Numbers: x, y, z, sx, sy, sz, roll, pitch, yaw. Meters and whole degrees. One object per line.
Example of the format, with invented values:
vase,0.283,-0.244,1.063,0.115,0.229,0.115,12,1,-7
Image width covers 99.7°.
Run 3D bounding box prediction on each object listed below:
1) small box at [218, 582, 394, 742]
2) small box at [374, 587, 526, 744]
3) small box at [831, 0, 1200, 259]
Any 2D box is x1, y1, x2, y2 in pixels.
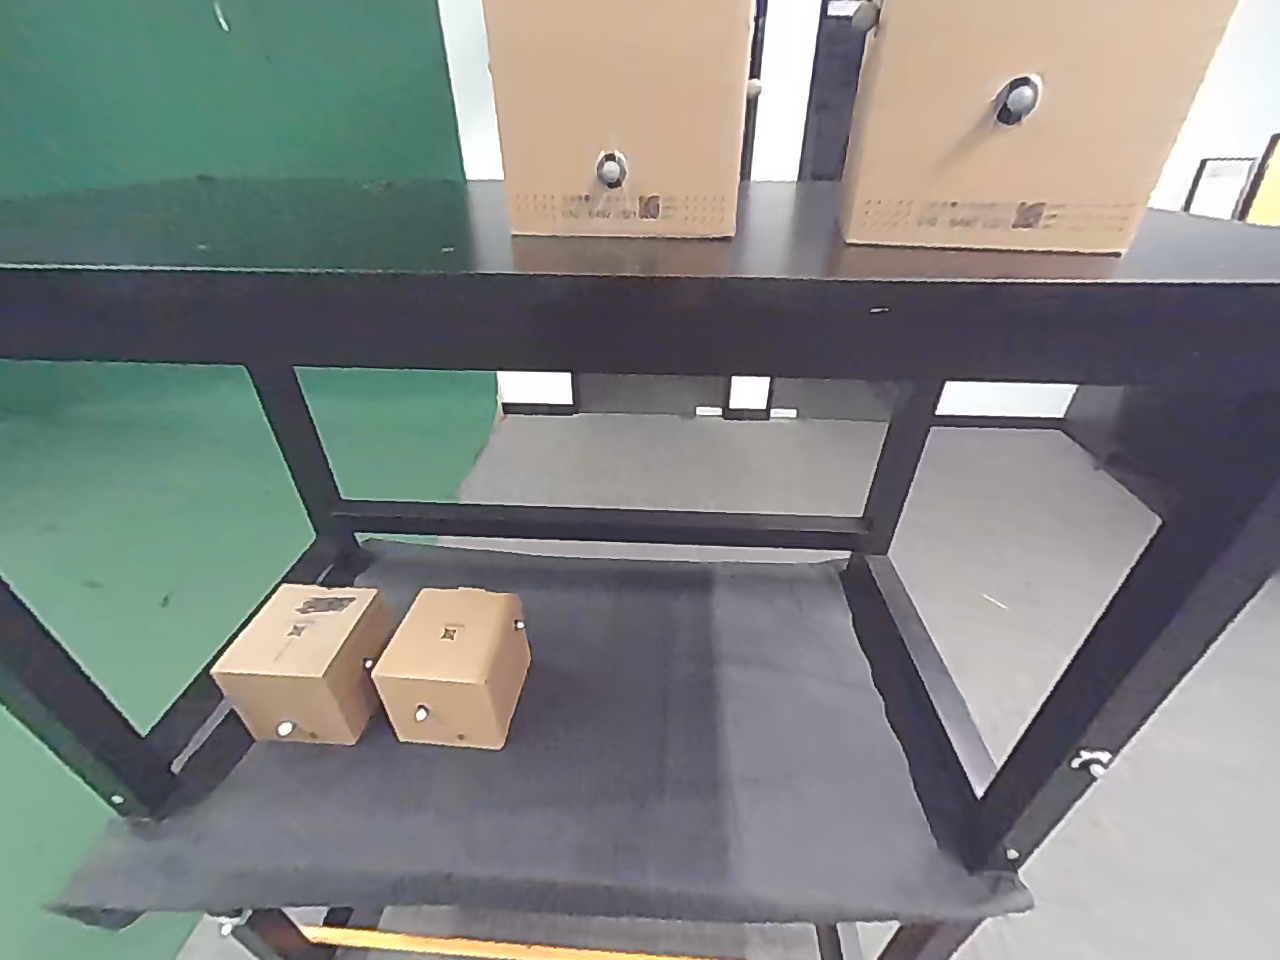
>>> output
small box,-0.516,0.290,0.873,0.168,0.176,0.179,2,33,3
small box,-0.288,0.296,0.870,0.168,0.176,0.179,3,32,4
small box,0.238,-0.262,0.387,0.168,0.176,0.179,9,33,12
